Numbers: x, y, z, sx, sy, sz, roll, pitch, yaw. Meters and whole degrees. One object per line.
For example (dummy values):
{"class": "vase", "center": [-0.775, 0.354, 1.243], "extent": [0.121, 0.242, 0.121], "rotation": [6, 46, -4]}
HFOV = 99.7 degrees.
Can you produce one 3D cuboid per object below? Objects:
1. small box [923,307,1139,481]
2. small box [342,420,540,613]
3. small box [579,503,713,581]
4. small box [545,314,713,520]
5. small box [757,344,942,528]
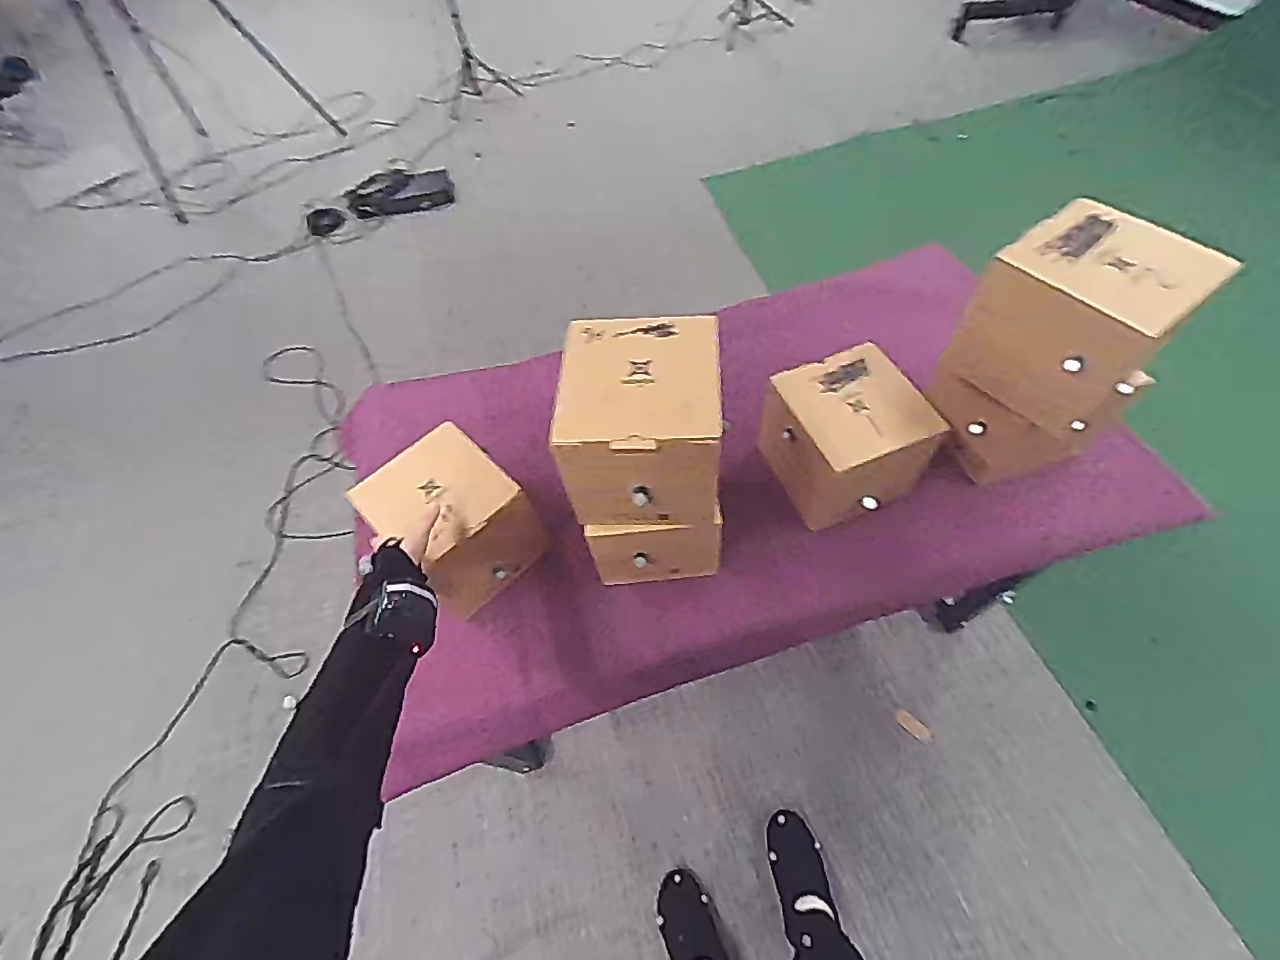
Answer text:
{"class": "small box", "center": [0.550, -0.120, 0.800], "extent": [0.179, 0.176, 0.168], "rotation": [-16, 57, -5]}
{"class": "small box", "center": [-0.267, 0.057, 0.758], "extent": [0.168, 0.176, 0.179], "rotation": [-41, 64, -19]}
{"class": "small box", "center": [0.011, 0.031, 0.754], "extent": [0.168, 0.176, 0.179], "rotation": [-6, 57, 2]}
{"class": "small box", "center": [0.001, -0.065, 0.621], "extent": [0.168, 0.176, 0.179], "rotation": [0, 58, 5]}
{"class": "small box", "center": [0.285, -0.060, 0.786], "extent": [0.168, 0.176, 0.179], "rotation": [-20, 59, -8]}
